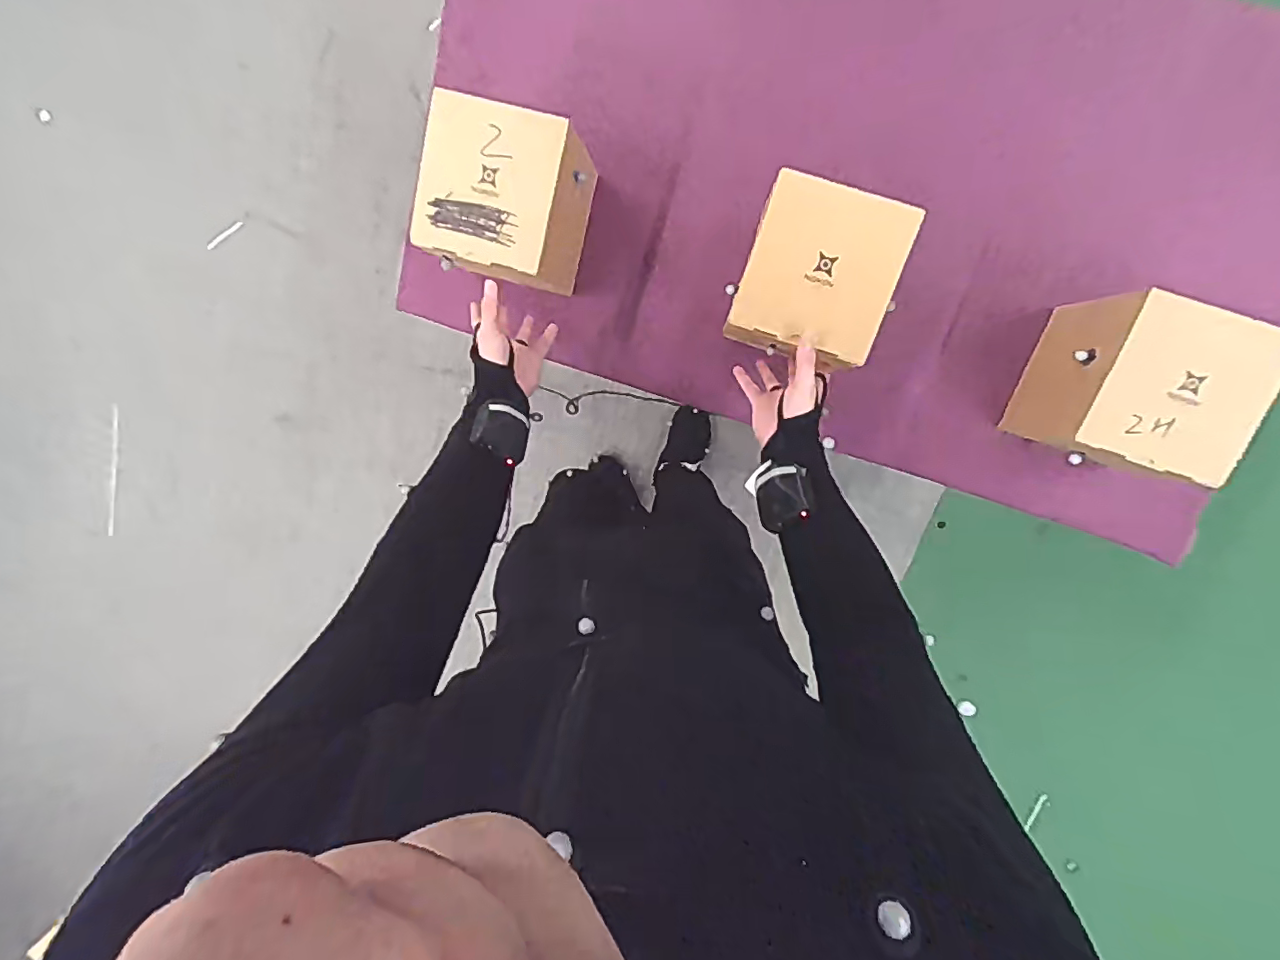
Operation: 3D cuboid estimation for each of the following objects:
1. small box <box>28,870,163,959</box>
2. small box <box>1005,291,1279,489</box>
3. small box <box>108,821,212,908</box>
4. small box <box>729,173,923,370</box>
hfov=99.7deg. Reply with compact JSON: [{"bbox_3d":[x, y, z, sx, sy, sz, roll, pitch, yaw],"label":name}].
[{"bbox_3d":[-1.465,1.219,1.469,0.179,0.176,0.168,-42,95,13],"label":"small box"},{"bbox_3d":[0.600,-0.111,0.668,0.168,0.176,0.179,20,103,4],"label":"small box"},{"bbox_3d":[-1.456,1.188,1.630,0.179,0.176,0.168,-42,95,11],"label":"small box"},{"bbox_3d":[0.217,-0.249,0.689,0.168,0.176,0.179,18,103,2],"label":"small box"}]
